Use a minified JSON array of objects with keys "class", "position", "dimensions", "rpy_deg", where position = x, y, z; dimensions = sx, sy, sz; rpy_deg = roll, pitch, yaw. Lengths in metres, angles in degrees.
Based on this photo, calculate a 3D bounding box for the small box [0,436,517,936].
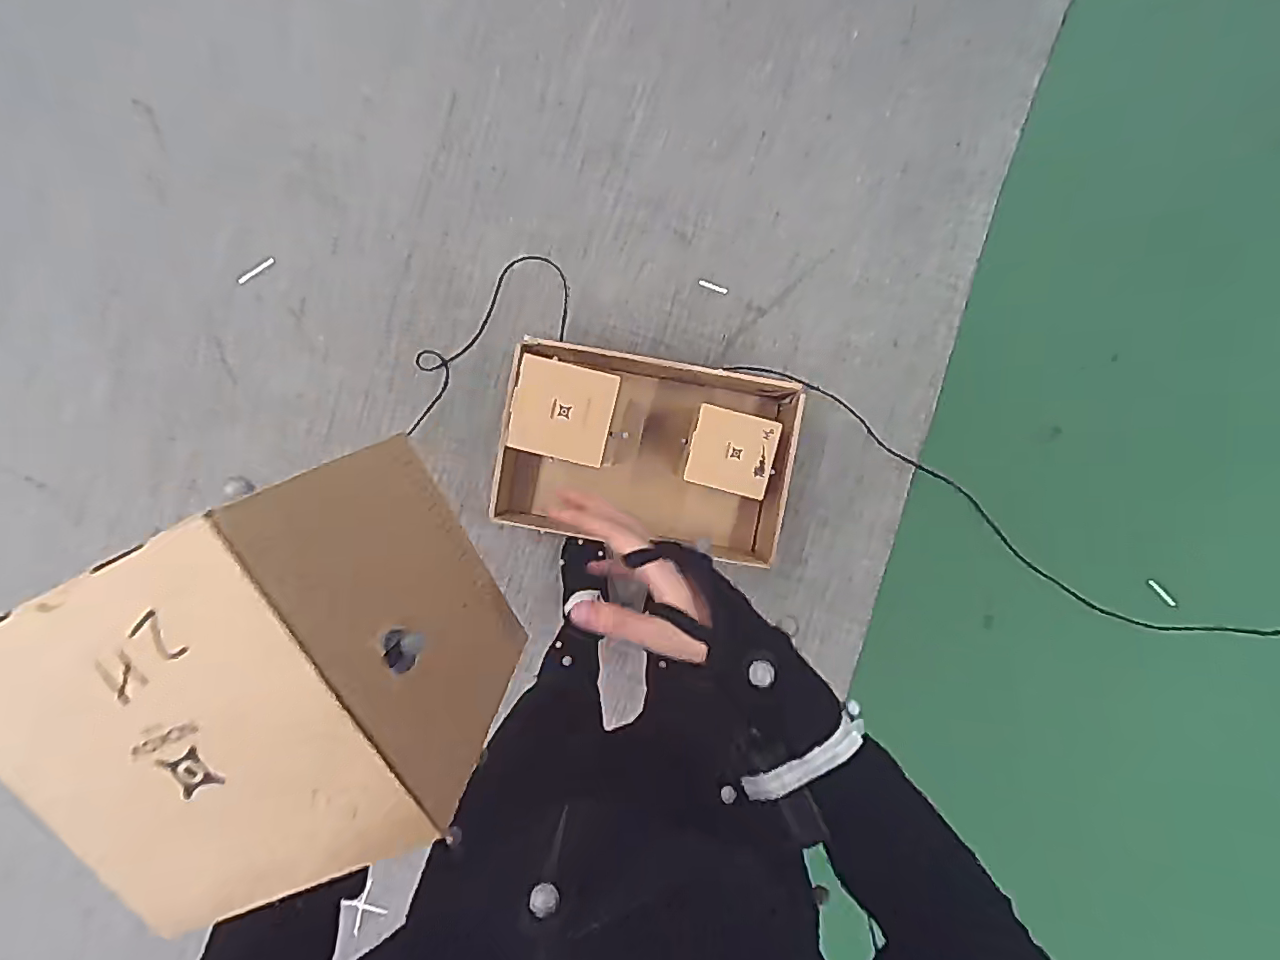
[{"class":"small box","position":[-0.193,0.094,0.310],"dimensions":[0.168,0.176,0.179],"rpy_deg":[-24,103,7]}]

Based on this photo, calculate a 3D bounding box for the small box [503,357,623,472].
[{"class":"small box","position":[-0.136,-0.115,1.013],"dimensions":[0.179,0.176,0.168],"rpy_deg":[15,93,-3]}]

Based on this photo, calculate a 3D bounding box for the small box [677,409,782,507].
[{"class":"small box","position":[0.186,-0.046,1.186],"dimensions":[0.179,0.176,0.168],"rpy_deg":[16,91,-1]}]
